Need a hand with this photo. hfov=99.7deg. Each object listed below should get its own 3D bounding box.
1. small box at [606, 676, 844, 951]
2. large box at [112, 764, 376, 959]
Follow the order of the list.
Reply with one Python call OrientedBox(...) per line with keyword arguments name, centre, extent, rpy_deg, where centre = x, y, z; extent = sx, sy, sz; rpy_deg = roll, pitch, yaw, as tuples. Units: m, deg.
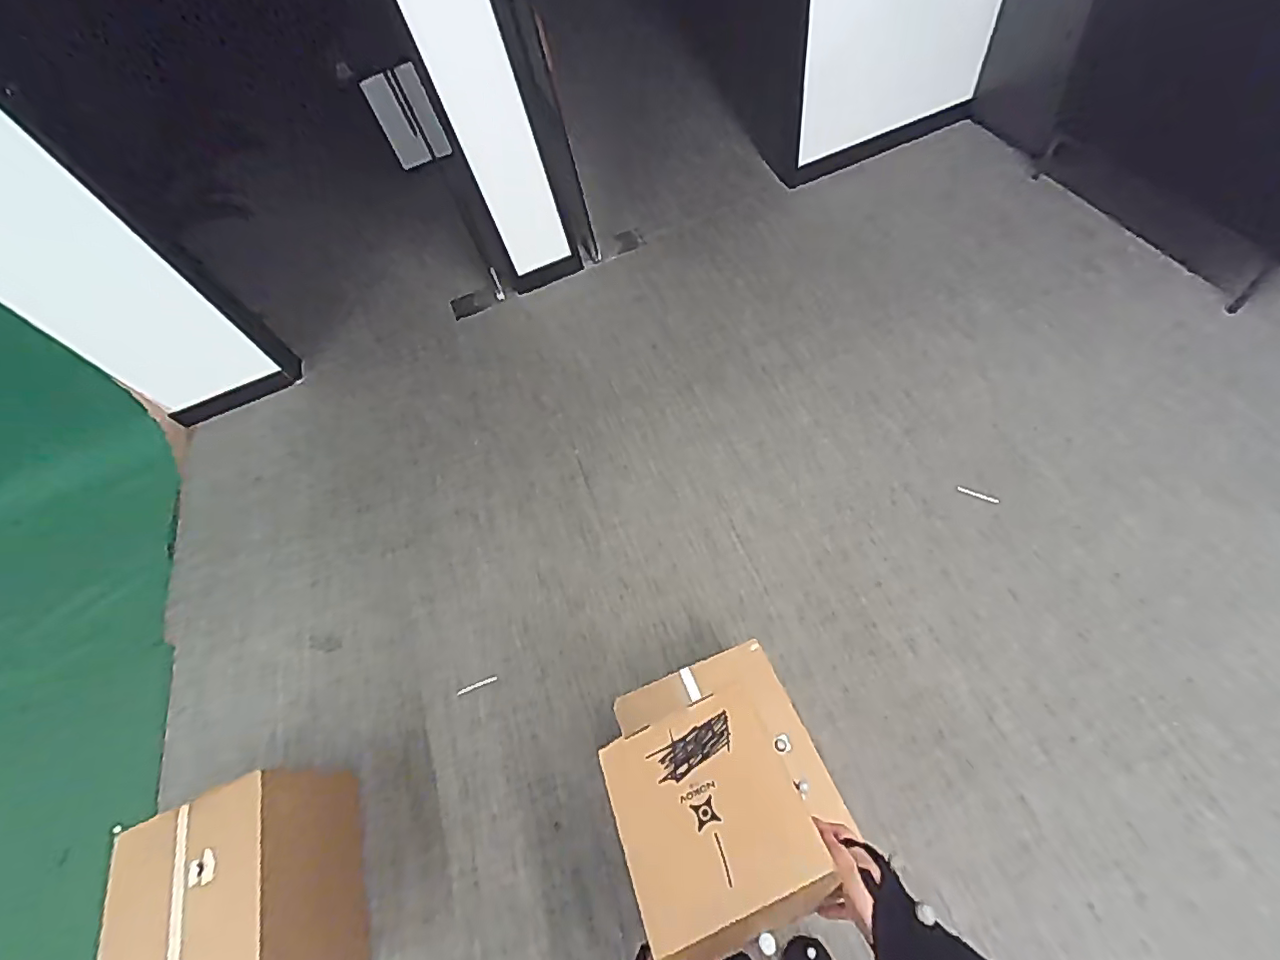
OrientedBox(name="small box", centre=(0.087, 0.340, 0.550), extent=(0.168, 0.176, 0.179), rpy_deg=(-27, 46, 0))
OrientedBox(name="large box", centre=(-0.796, 0.865, 1.119), extent=(0.320, 0.320, 0.408), rpy_deg=(-24, 58, -2))
